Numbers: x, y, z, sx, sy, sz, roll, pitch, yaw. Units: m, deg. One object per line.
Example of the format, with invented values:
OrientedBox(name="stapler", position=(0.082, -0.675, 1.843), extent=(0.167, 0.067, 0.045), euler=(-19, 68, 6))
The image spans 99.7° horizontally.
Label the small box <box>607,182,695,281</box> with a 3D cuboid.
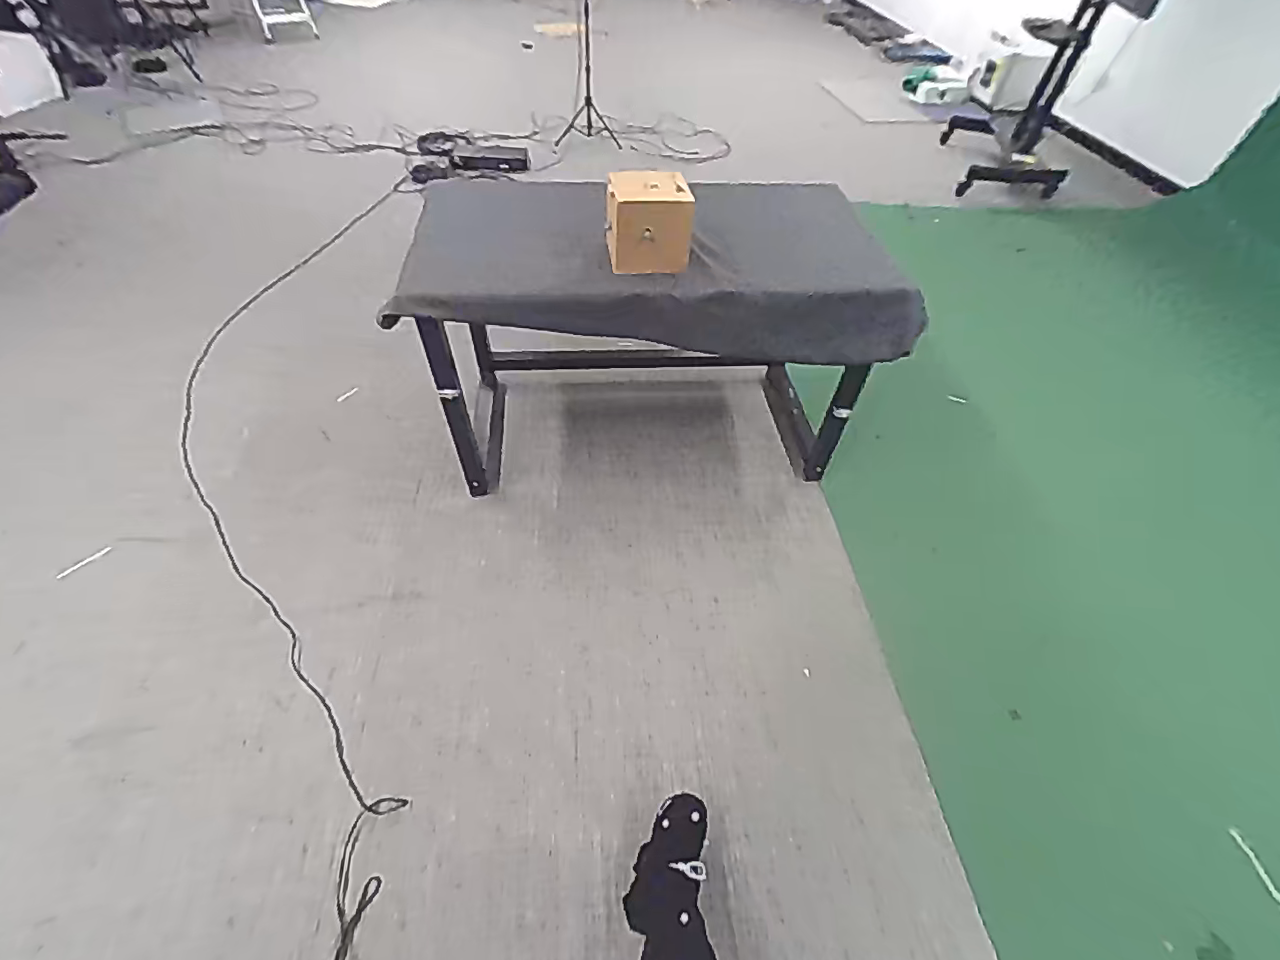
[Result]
OrientedBox(name="small box", position=(0.020, -0.589, 1.288), extent=(0.179, 0.176, 0.168), euler=(-7, 48, -9))
